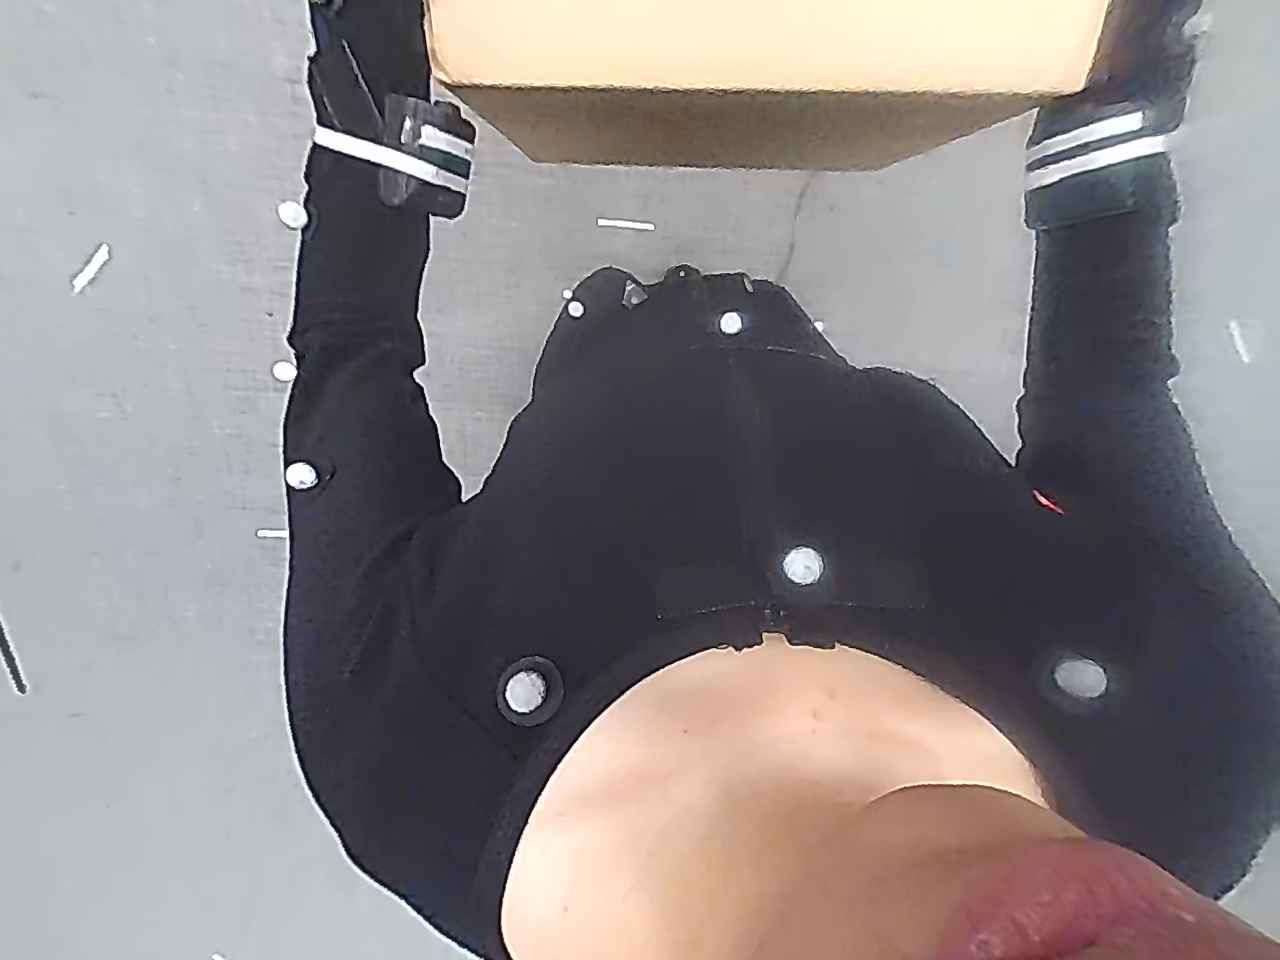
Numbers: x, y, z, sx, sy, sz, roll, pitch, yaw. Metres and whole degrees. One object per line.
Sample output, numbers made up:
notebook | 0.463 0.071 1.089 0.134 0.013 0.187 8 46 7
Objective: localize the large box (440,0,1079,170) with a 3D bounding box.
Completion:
large box | 0.073 -0.453 0.434 0.408 0.320 0.320 1 112 0
